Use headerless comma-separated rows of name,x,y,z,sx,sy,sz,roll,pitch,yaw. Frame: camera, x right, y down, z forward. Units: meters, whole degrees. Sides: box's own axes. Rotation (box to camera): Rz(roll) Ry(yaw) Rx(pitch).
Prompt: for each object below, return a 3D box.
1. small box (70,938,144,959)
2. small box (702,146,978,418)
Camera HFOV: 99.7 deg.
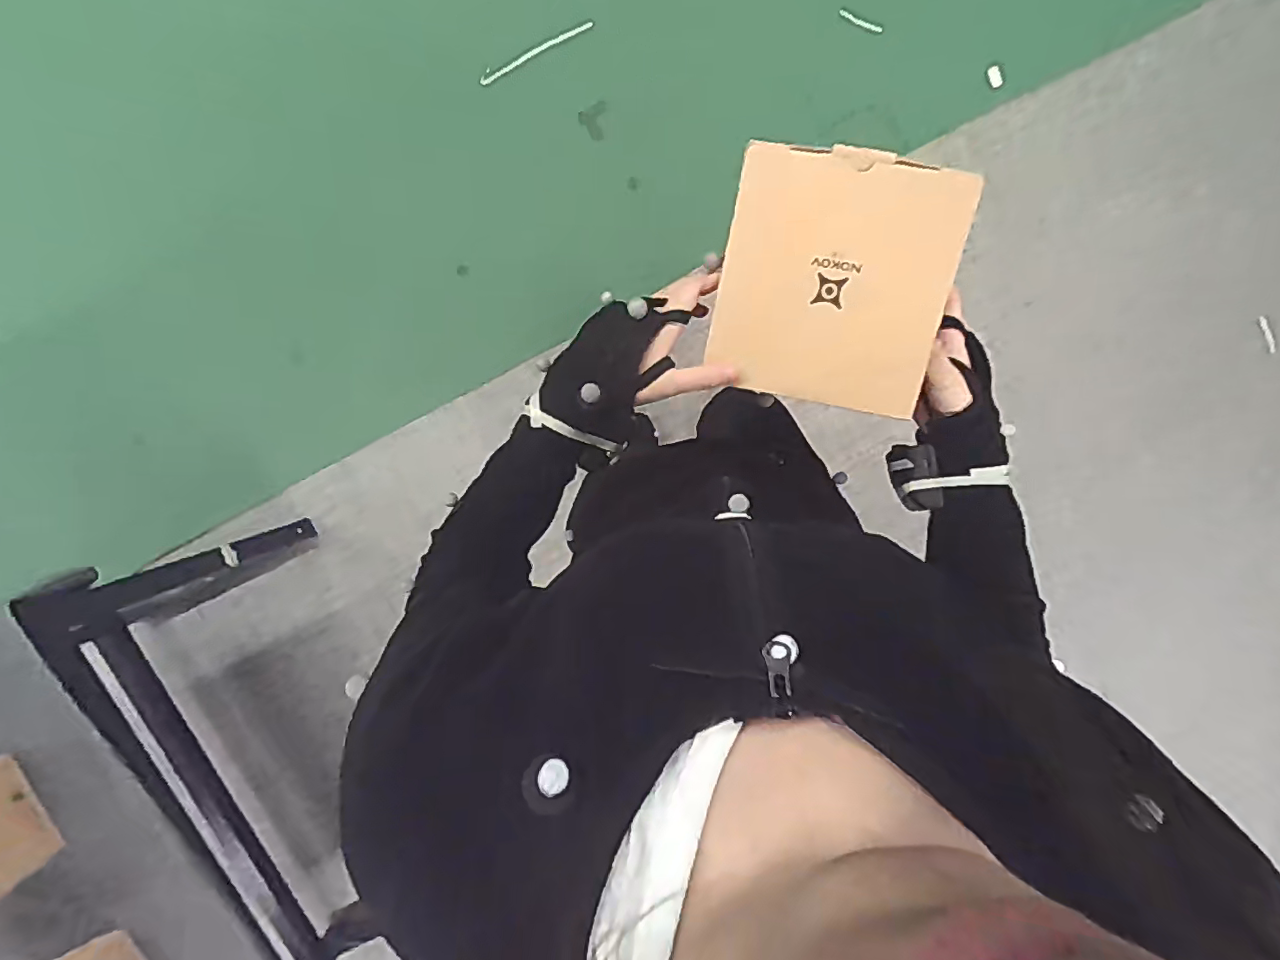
small box,-0.824,0.809,0.756,0.179,0.176,0.168,-27,97,3
small box,0.157,-0.161,0.482,0.168,0.176,0.179,12,102,7
